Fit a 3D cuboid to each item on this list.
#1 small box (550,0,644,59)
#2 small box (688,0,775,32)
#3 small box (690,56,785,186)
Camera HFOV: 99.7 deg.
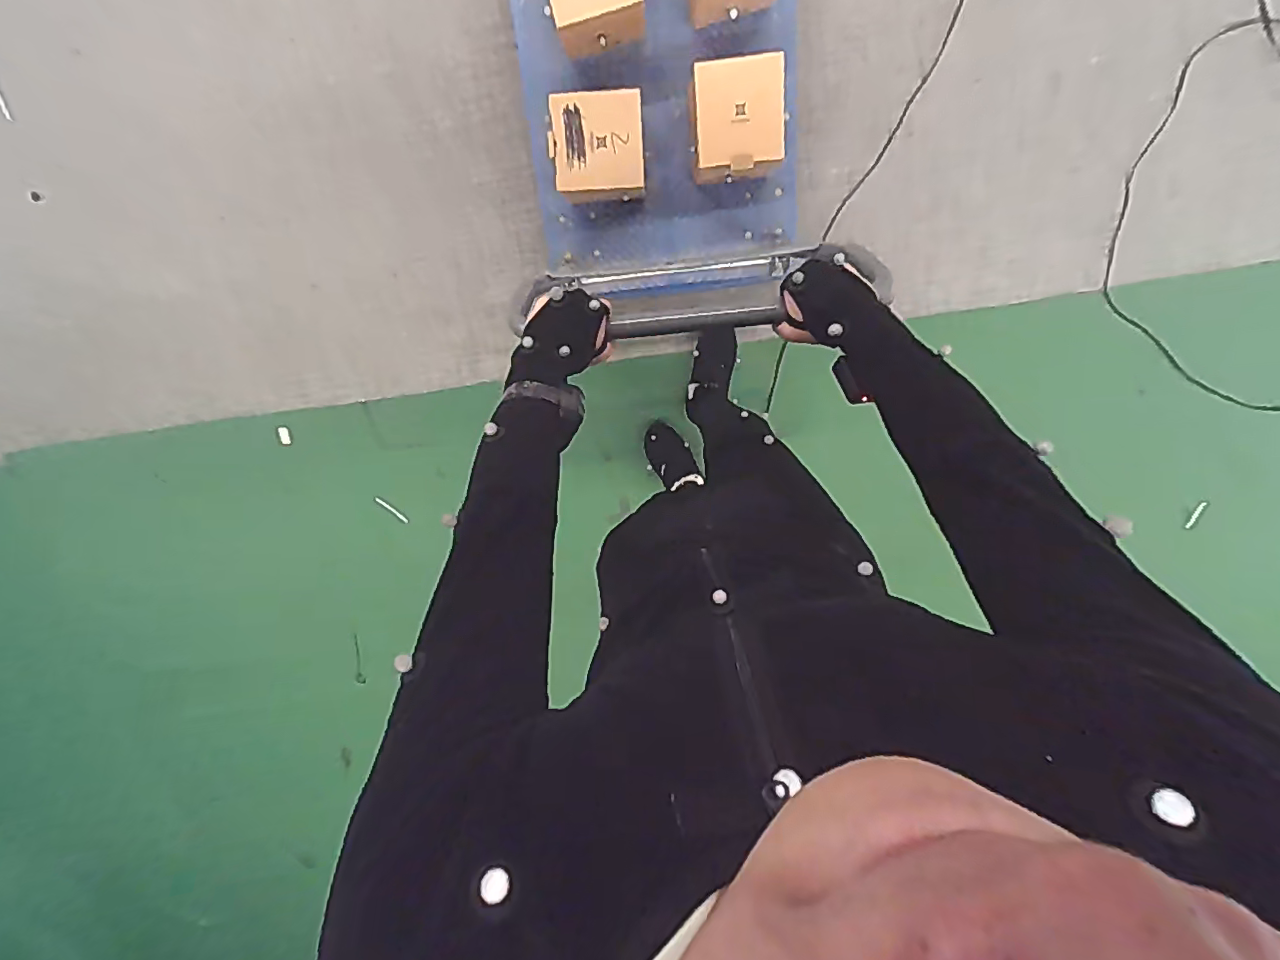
[{"bbox_3d":[-0.088,-0.938,1.023,0.168,0.176,0.179,-13,109,5],"label":"small box"},{"bbox_3d":[0.167,-0.985,0.998,0.168,0.176,0.179,-11,110,6],"label":"small box"},{"bbox_3d":[0.193,-0.716,1.096,0.168,0.176,0.179,-5,110,3],"label":"small box"}]
